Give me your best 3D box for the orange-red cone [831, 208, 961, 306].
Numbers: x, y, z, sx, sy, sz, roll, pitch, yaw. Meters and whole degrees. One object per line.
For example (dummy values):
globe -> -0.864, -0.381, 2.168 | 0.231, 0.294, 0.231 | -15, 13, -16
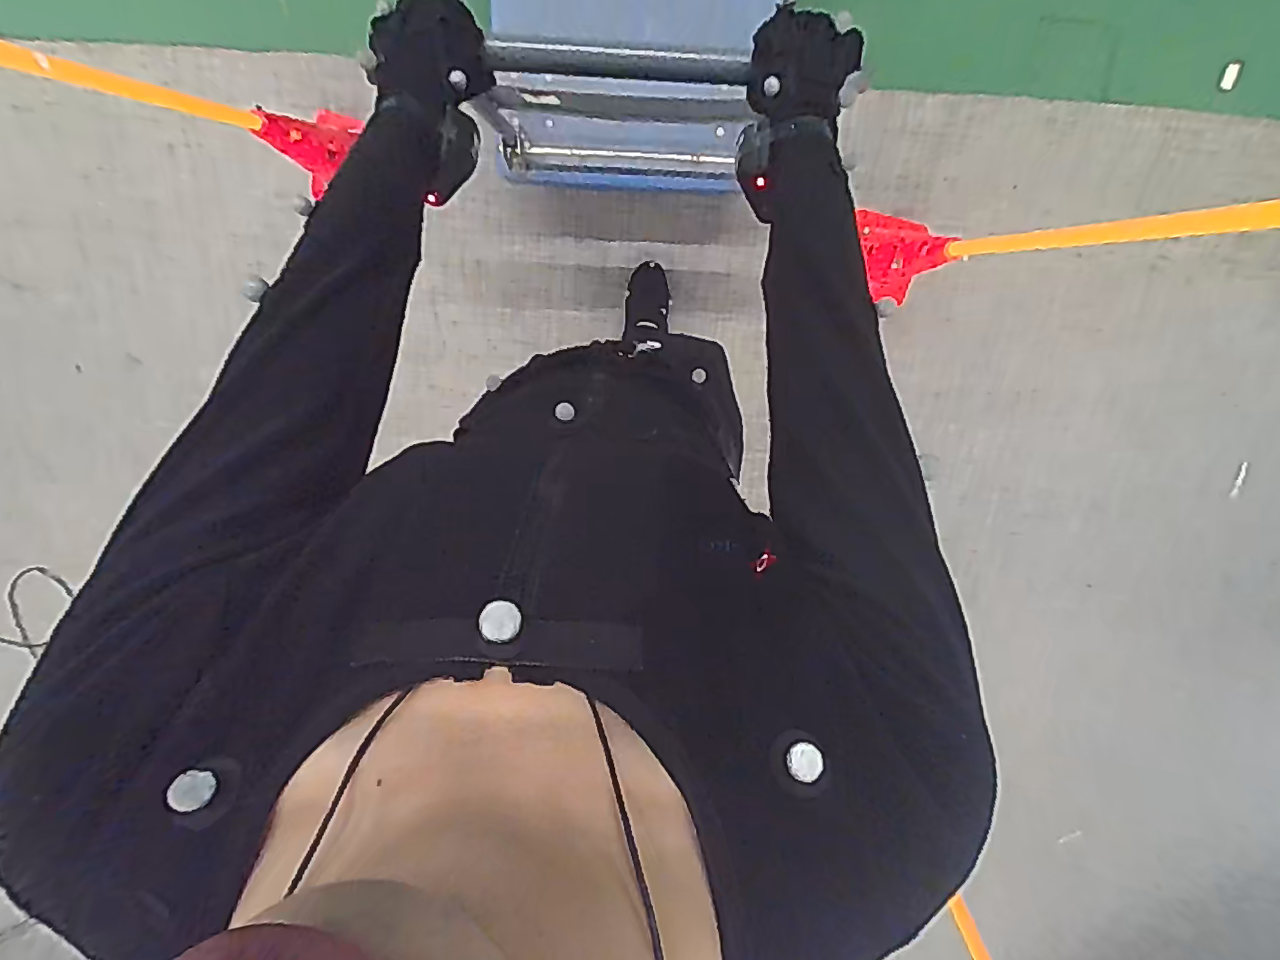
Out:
orange-red cone -> 0.592, -0.493, 1.183 | 0.198, 0.360, 0.199 | 14, 110, -4
